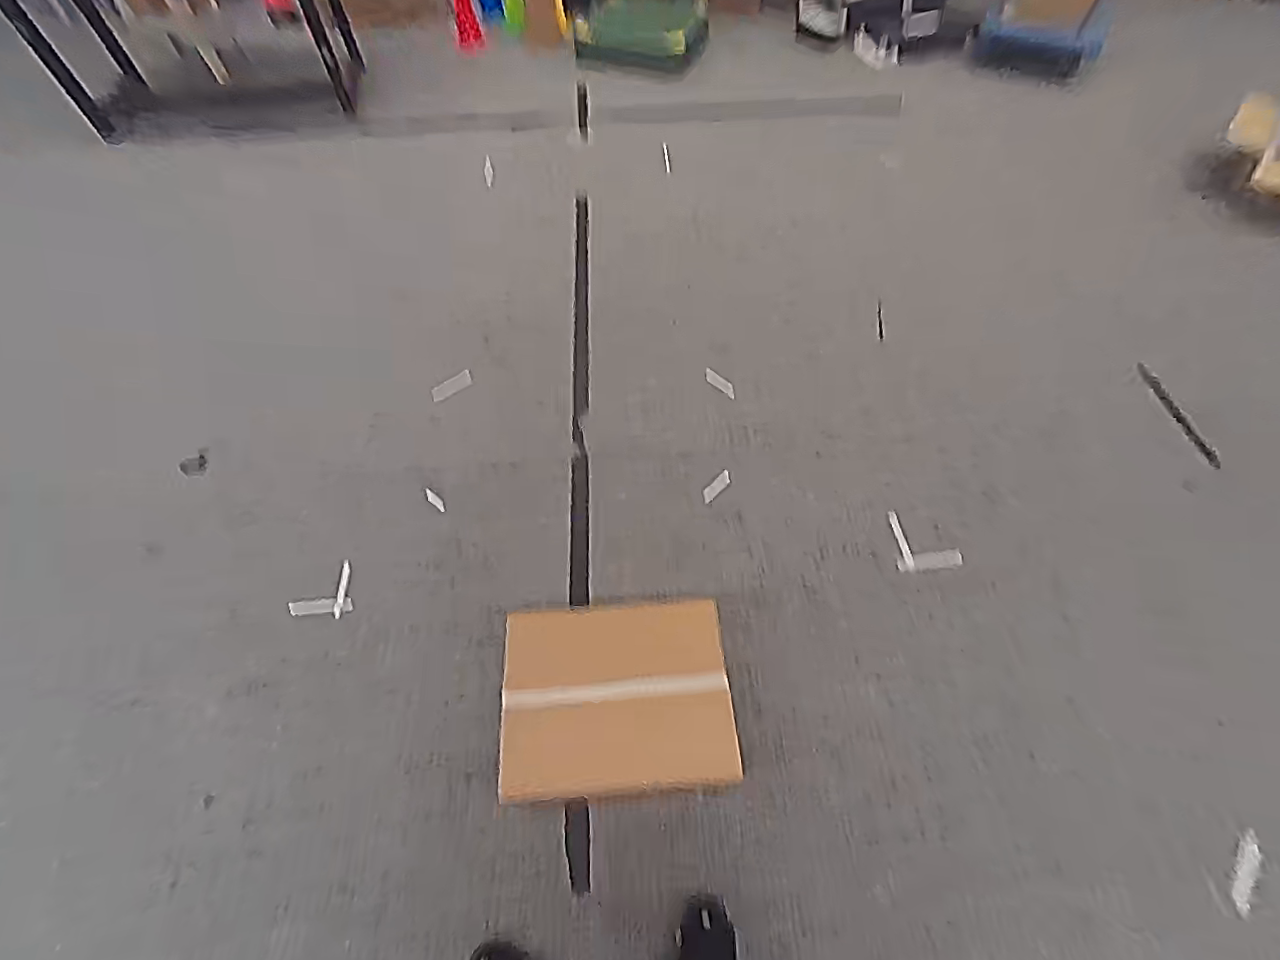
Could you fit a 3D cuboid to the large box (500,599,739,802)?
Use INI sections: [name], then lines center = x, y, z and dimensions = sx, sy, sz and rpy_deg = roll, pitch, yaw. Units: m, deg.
[large box]
center = -0.043, 0.454, 1.092
dimensions = 0.408, 0.320, 0.320
rpy_deg = -4, 57, -2
